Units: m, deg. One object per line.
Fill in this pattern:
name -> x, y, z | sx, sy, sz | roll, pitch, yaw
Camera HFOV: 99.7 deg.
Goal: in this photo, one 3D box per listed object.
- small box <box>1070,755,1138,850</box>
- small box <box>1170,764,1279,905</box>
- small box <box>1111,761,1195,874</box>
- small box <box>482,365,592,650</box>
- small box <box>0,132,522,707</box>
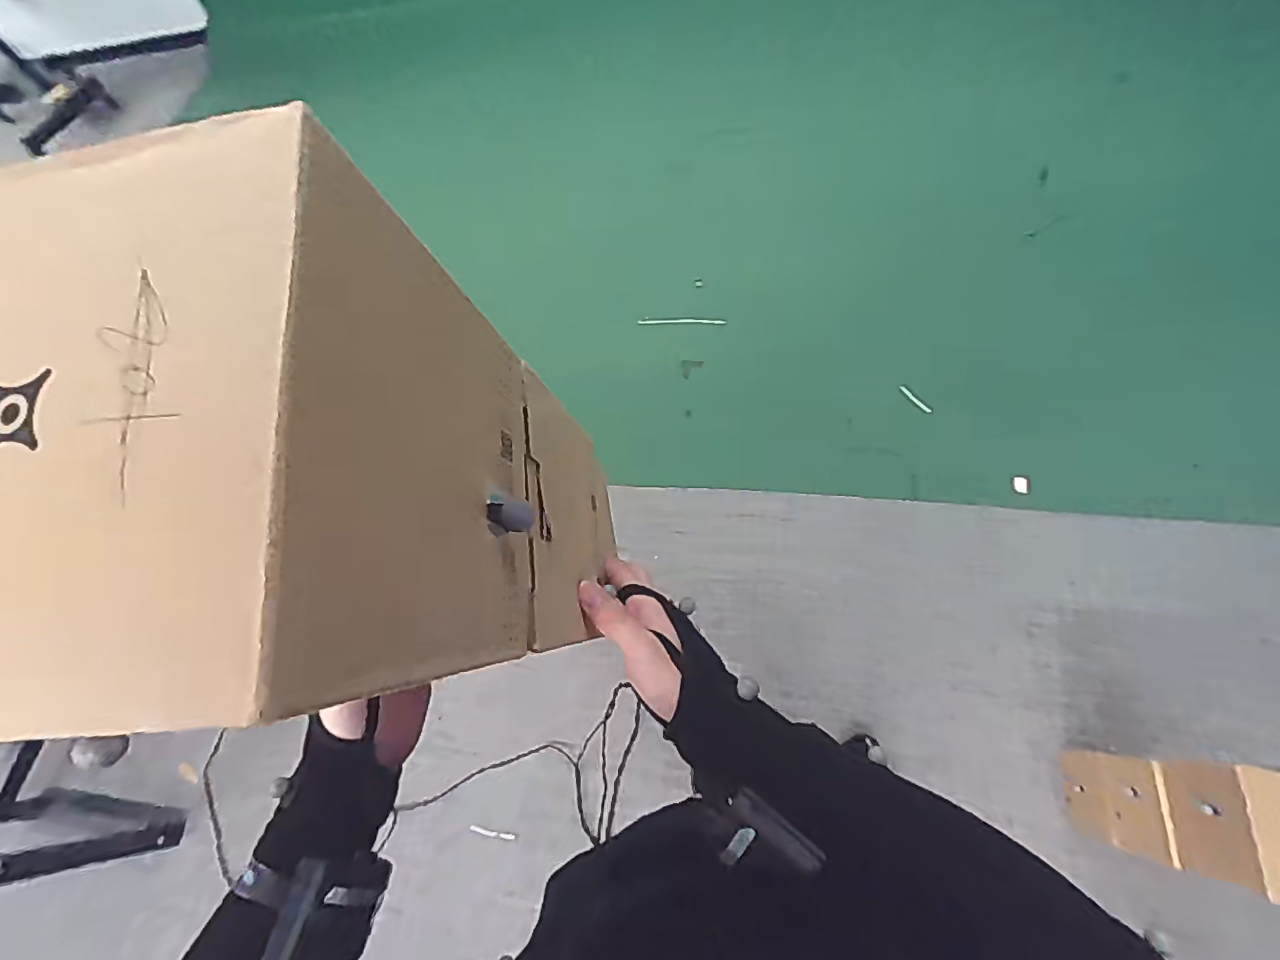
small box -> 1.026, 0.674, 1.115 | 0.179, 0.176, 0.168 | 5, 67, 14
small box -> 0.969, 0.542, 0.822 | 0.168, 0.176, 0.179 | 3, 65, 14
small box -> 0.995, 0.609, 0.970 | 0.179, 0.176, 0.168 | 3, 66, 13
small box -> -0.137, 0.036, 0.391 | 0.179, 0.176, 0.168 | -8, 75, 9
small box -> -0.165, 0.000, 0.235 | 0.179, 0.176, 0.168 | -7, 76, 8
